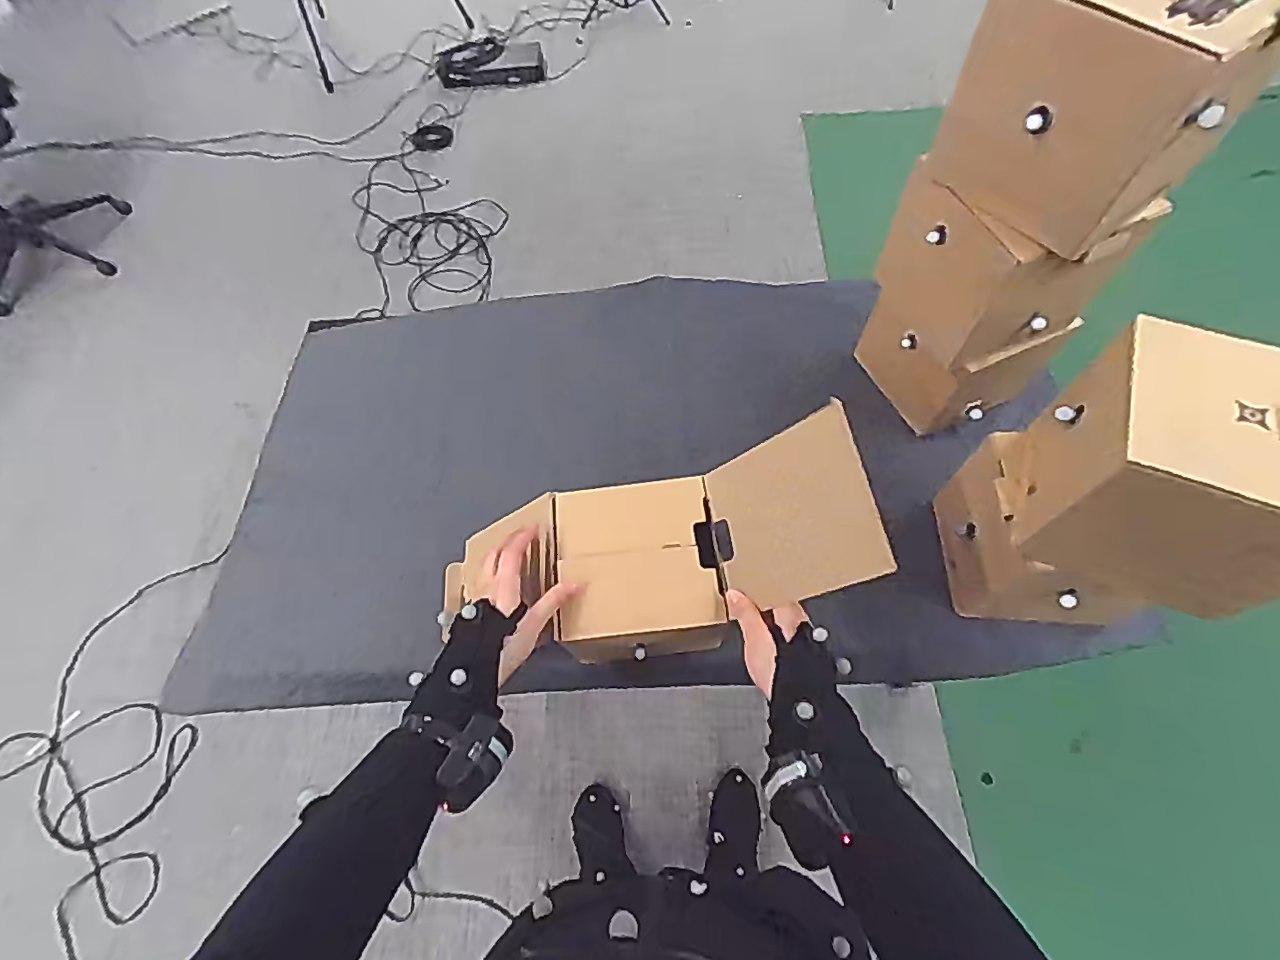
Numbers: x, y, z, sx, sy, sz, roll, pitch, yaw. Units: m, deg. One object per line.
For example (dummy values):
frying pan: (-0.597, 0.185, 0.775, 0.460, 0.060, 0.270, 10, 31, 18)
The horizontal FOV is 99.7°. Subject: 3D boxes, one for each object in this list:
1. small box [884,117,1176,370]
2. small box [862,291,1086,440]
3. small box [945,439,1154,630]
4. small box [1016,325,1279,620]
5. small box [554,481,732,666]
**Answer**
small box: (0.409, -0.258, 0.611, 0.168, 0.176, 0.179, -20, 64, -2)
small box: (0.443, -0.187, 0.756, 0.168, 0.176, 0.179, -23, 65, -5)
small box: (0.477, 0.068, 0.621, 0.179, 0.176, 0.168, 2, 60, 6)
small box: (0.470, 0.001, 0.472, 0.179, 0.176, 0.168, 22, 64, 15)
small box: (0.003, 0.117, 0.633, 0.179, 0.176, 0.168, -7, 64, 2)
